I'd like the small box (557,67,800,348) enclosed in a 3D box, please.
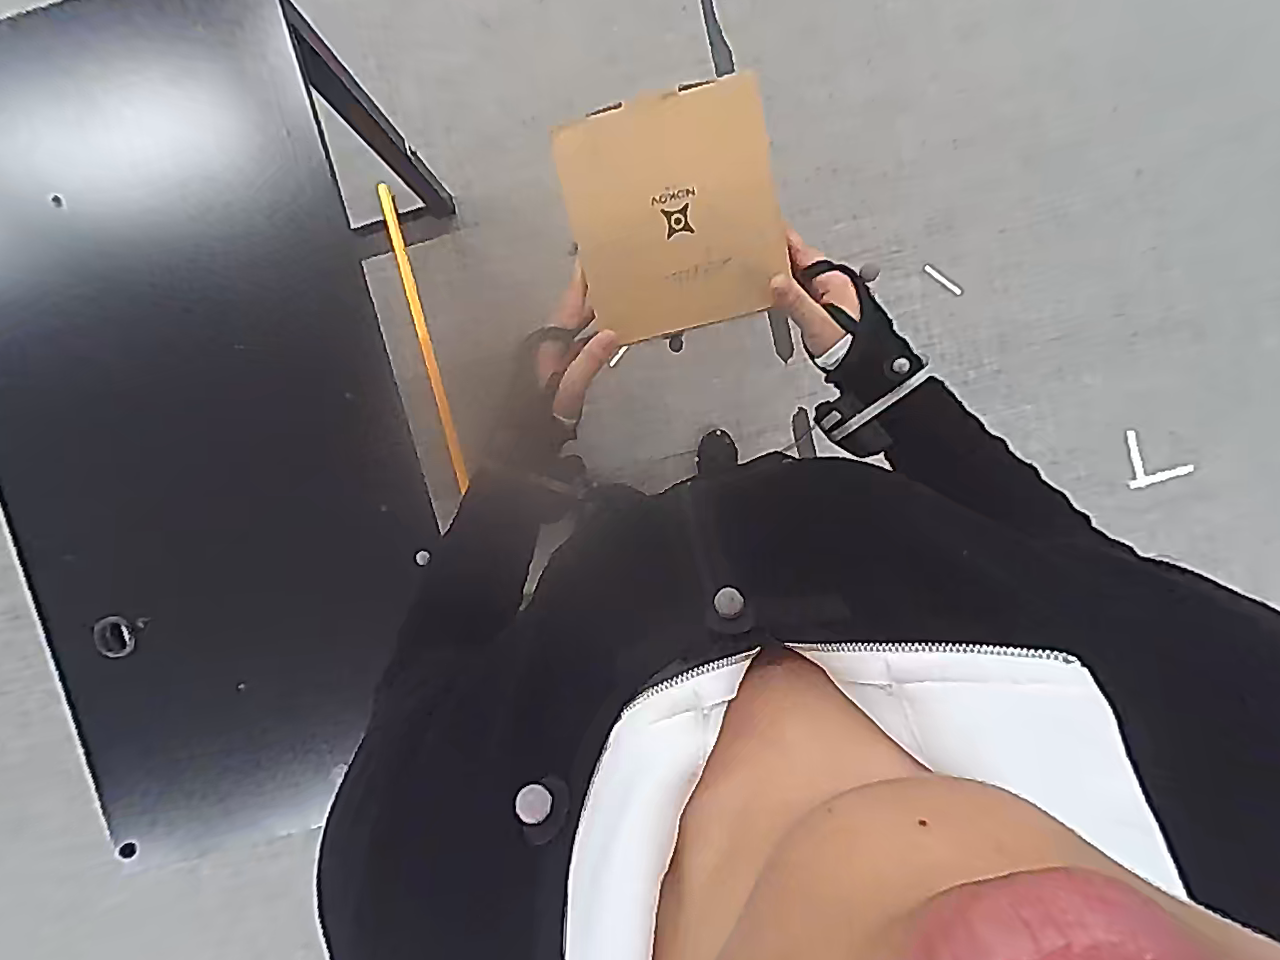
[{"bbox_3d":[0.031,-0.225,0.499,0.168,0.176,0.179,-13,104,3],"label":"small box"}]
